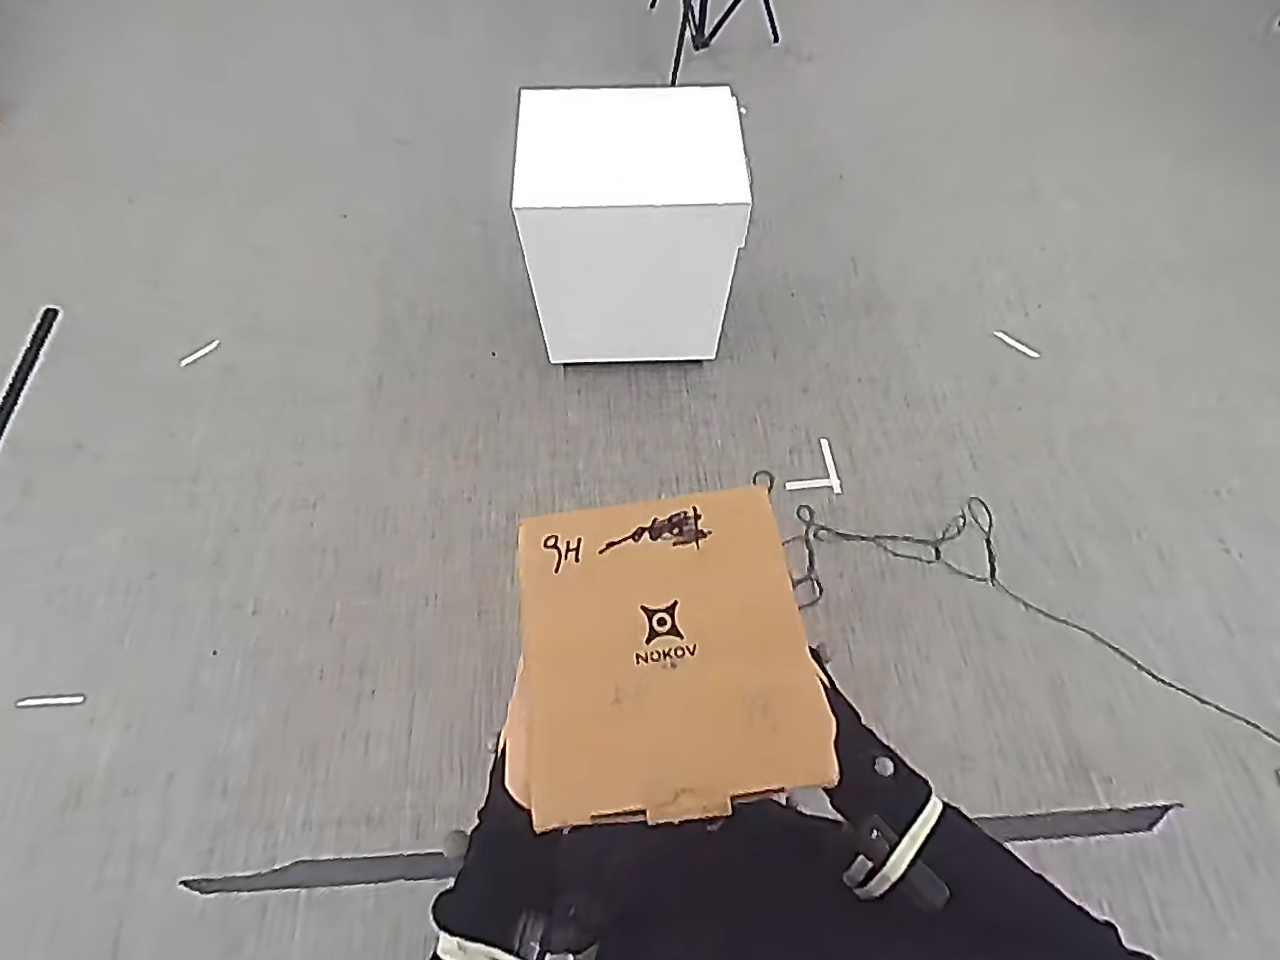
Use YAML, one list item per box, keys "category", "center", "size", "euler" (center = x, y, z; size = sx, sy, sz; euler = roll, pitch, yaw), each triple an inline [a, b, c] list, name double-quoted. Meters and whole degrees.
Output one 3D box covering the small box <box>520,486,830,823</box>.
- category: "small box"
  center: [0.016, 0.123, 0.394]
  size: [0.168, 0.176, 0.179]
  euler: [-8, 67, -2]
